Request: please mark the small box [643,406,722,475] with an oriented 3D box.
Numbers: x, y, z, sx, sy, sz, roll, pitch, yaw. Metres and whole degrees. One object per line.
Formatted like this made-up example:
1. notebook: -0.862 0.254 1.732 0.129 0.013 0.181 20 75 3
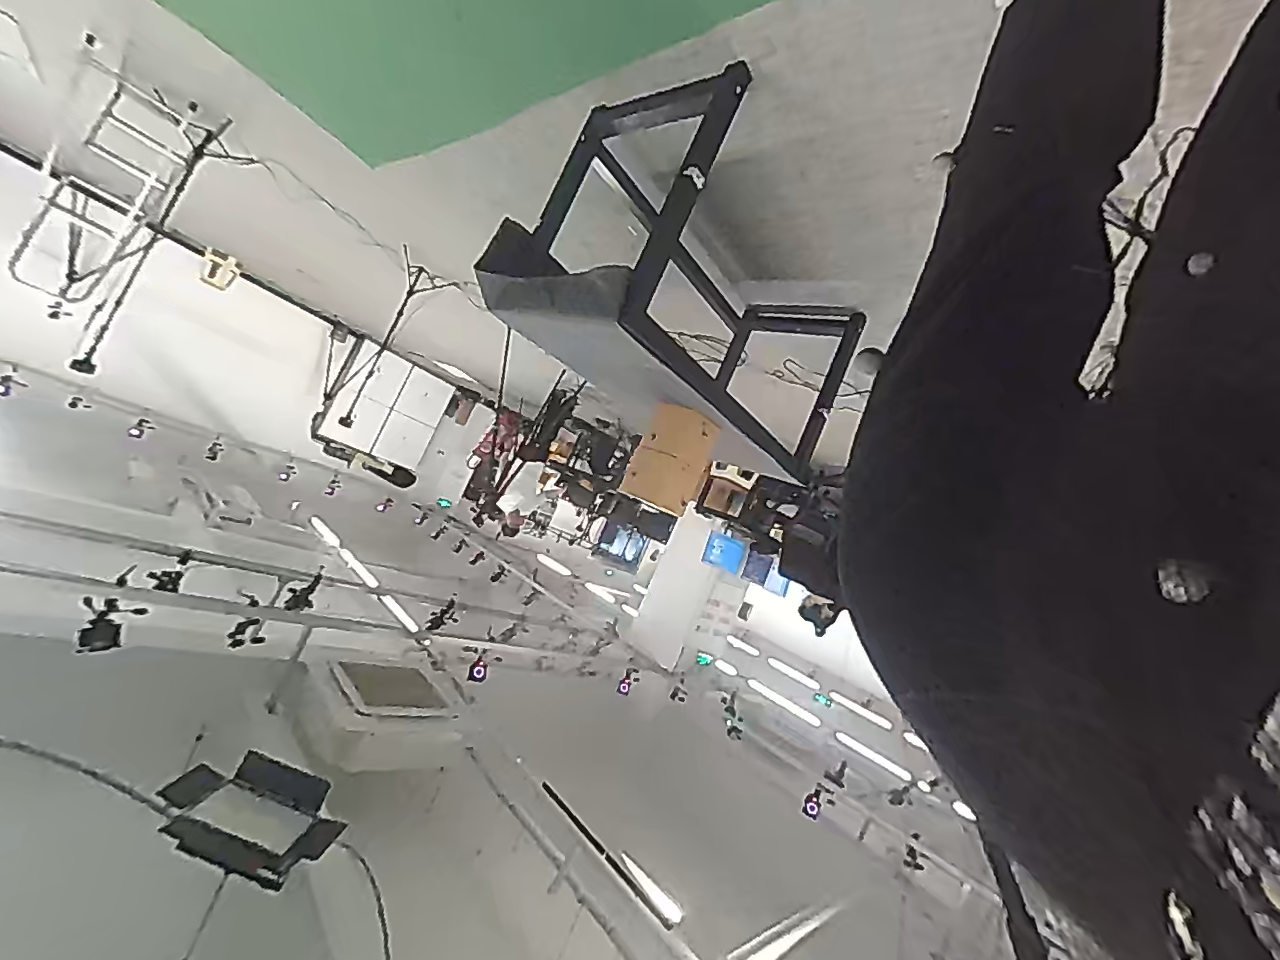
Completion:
1. small box: 0.148 -0.137 1.840 0.179 0.176 0.168 19 174 43
